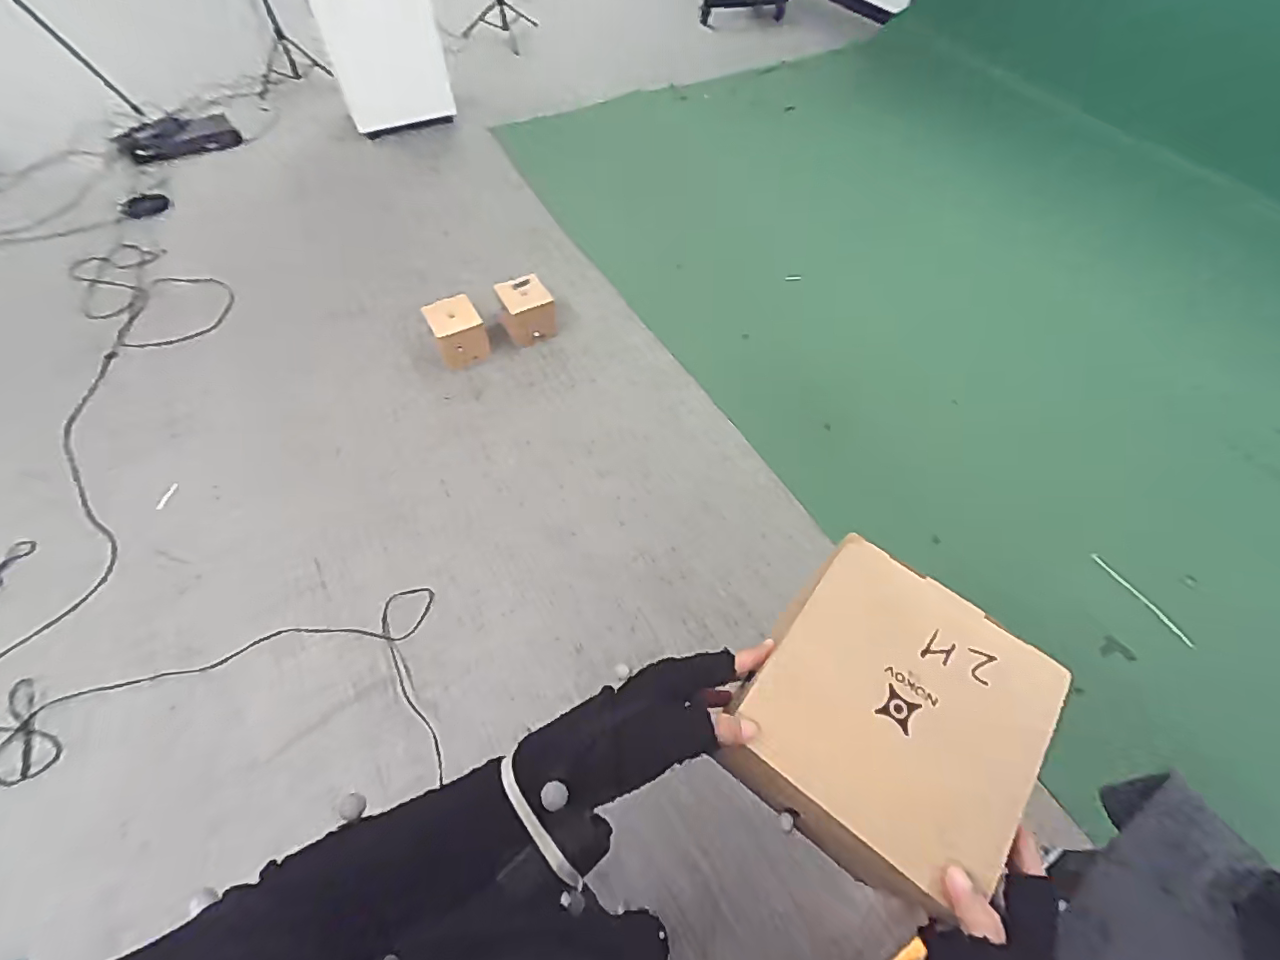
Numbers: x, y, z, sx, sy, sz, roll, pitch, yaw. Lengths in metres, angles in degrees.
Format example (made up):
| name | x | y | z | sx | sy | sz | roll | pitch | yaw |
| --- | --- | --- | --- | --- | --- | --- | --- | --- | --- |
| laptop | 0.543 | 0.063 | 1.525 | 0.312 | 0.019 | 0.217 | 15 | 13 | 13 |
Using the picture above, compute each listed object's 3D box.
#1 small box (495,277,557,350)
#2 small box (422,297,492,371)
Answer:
| name | x | y | z | sx | sy | sz | roll | pitch | yaw |
| --- | --- | --- | --- | --- | --- | --- | --- | --- | --- |
| small box | -0.421 | -0.619 | 2.015 | 0.168 | 0.176 | 0.179 | -26 | 63 | -18 |
| small box | -0.651 | -0.516 | 1.940 | 0.168 | 0.176 | 0.179 | -26 | 62 | -18 |
